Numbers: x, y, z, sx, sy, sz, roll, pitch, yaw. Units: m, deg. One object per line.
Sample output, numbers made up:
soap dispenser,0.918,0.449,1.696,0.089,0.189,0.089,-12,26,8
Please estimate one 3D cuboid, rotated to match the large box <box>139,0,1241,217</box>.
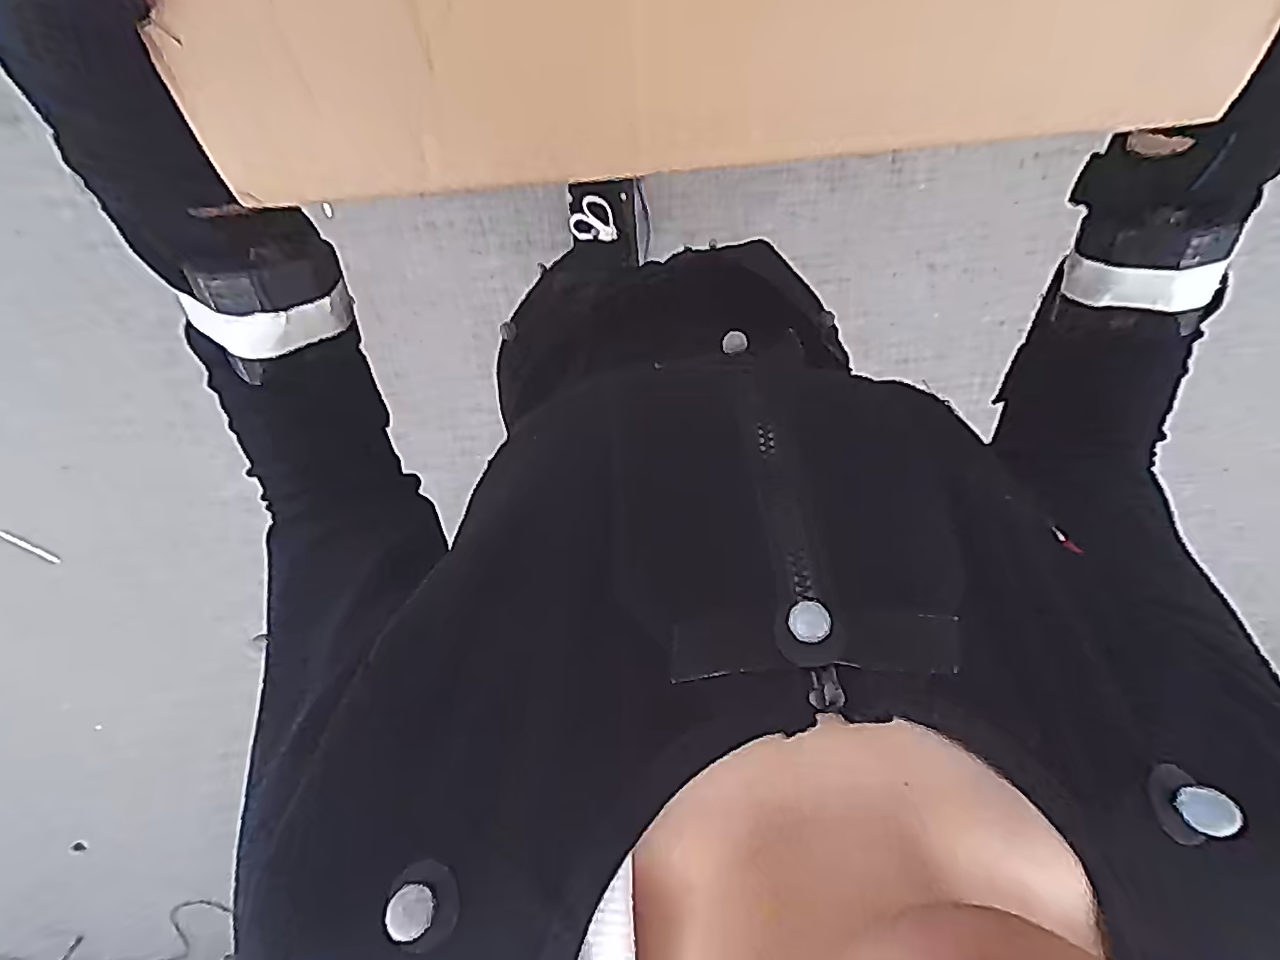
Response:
large box,0.014,-0.346,0.222,0.408,0.320,0.320,-5,137,0
